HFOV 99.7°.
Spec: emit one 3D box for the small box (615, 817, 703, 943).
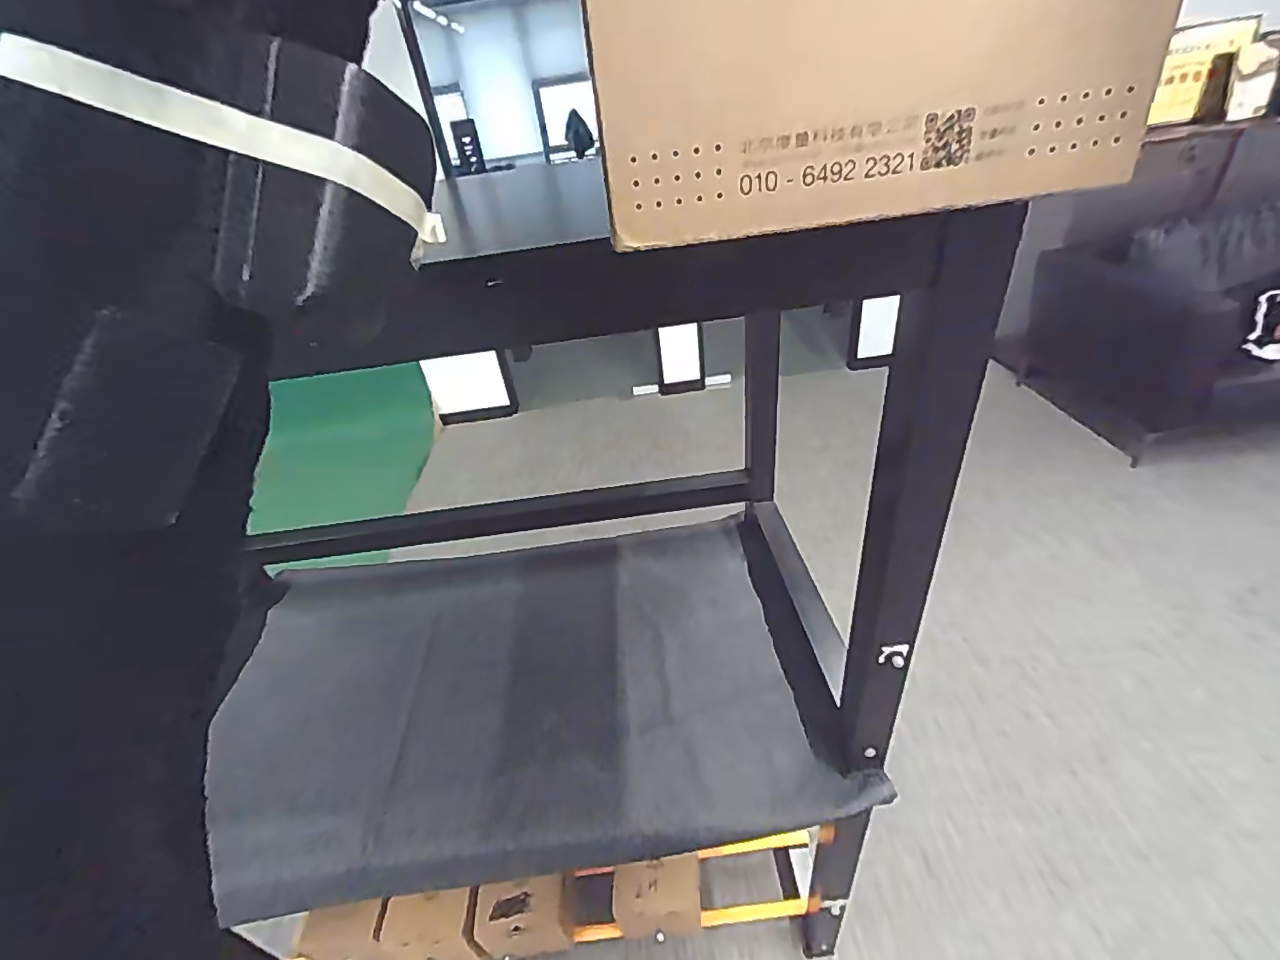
[{"bbox_3d":[0.043,0.848,1.150,0.168,0.176,0.179,-6,36,5],"label":"small box"}]
